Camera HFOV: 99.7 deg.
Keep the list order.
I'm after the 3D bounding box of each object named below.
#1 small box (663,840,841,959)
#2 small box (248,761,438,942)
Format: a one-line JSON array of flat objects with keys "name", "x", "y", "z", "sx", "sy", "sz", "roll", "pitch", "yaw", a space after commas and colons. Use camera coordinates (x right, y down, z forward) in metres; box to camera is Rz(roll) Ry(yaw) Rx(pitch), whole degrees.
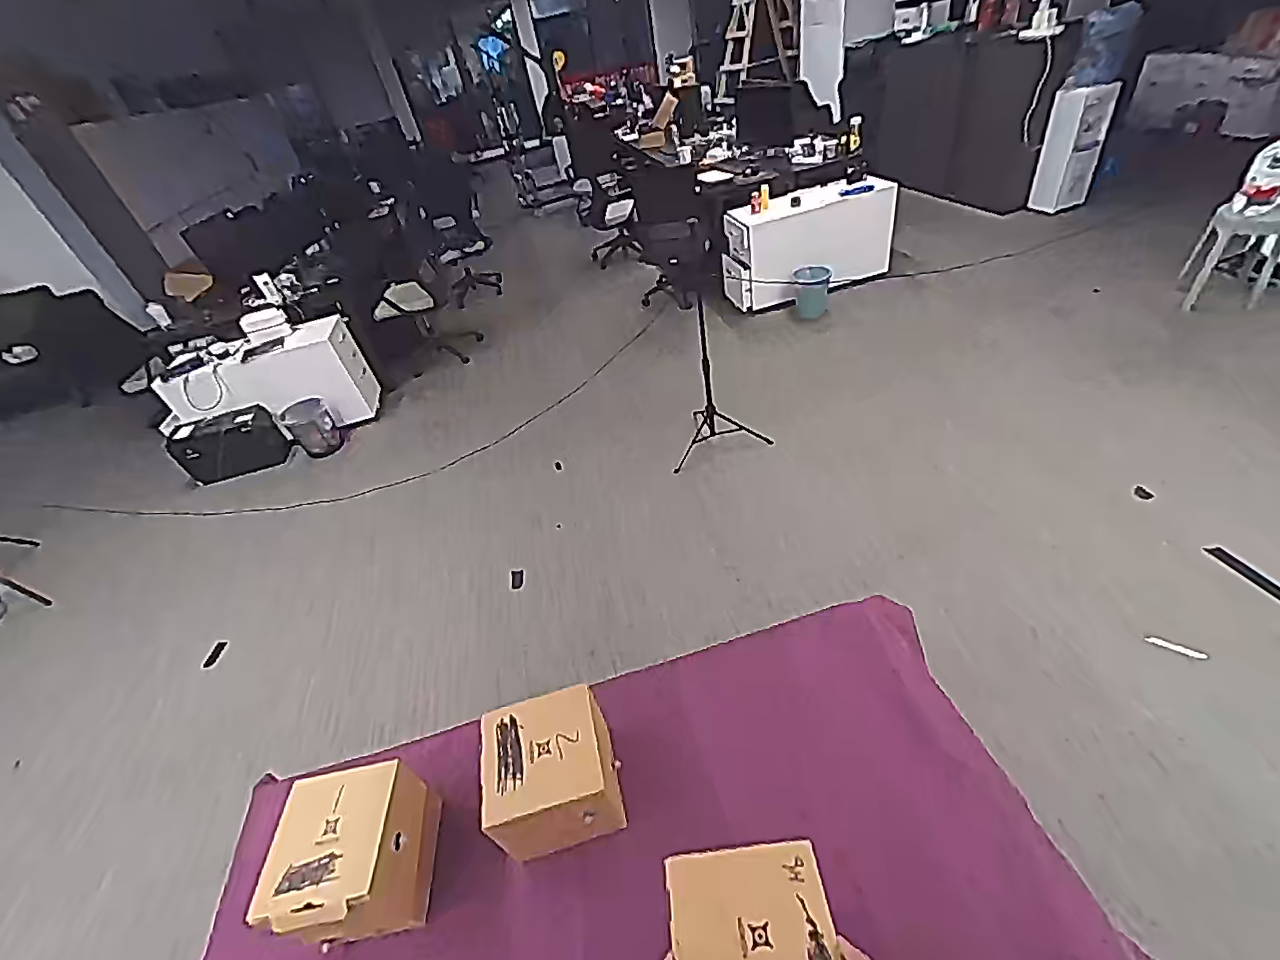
[{"name": "small box", "x": 0.129, "y": 0.540, "z": 0.613, "sx": 0.179, "sy": 0.176, "sz": 0.168, "roll": -9, "pitch": 38, "yaw": 3}, {"name": "small box", "x": -0.418, "y": 0.554, "z": 0.802, "sx": 0.168, "sy": 0.176, "sz": 0.179, "roll": -12, "pitch": 40, "yaw": 0}]
